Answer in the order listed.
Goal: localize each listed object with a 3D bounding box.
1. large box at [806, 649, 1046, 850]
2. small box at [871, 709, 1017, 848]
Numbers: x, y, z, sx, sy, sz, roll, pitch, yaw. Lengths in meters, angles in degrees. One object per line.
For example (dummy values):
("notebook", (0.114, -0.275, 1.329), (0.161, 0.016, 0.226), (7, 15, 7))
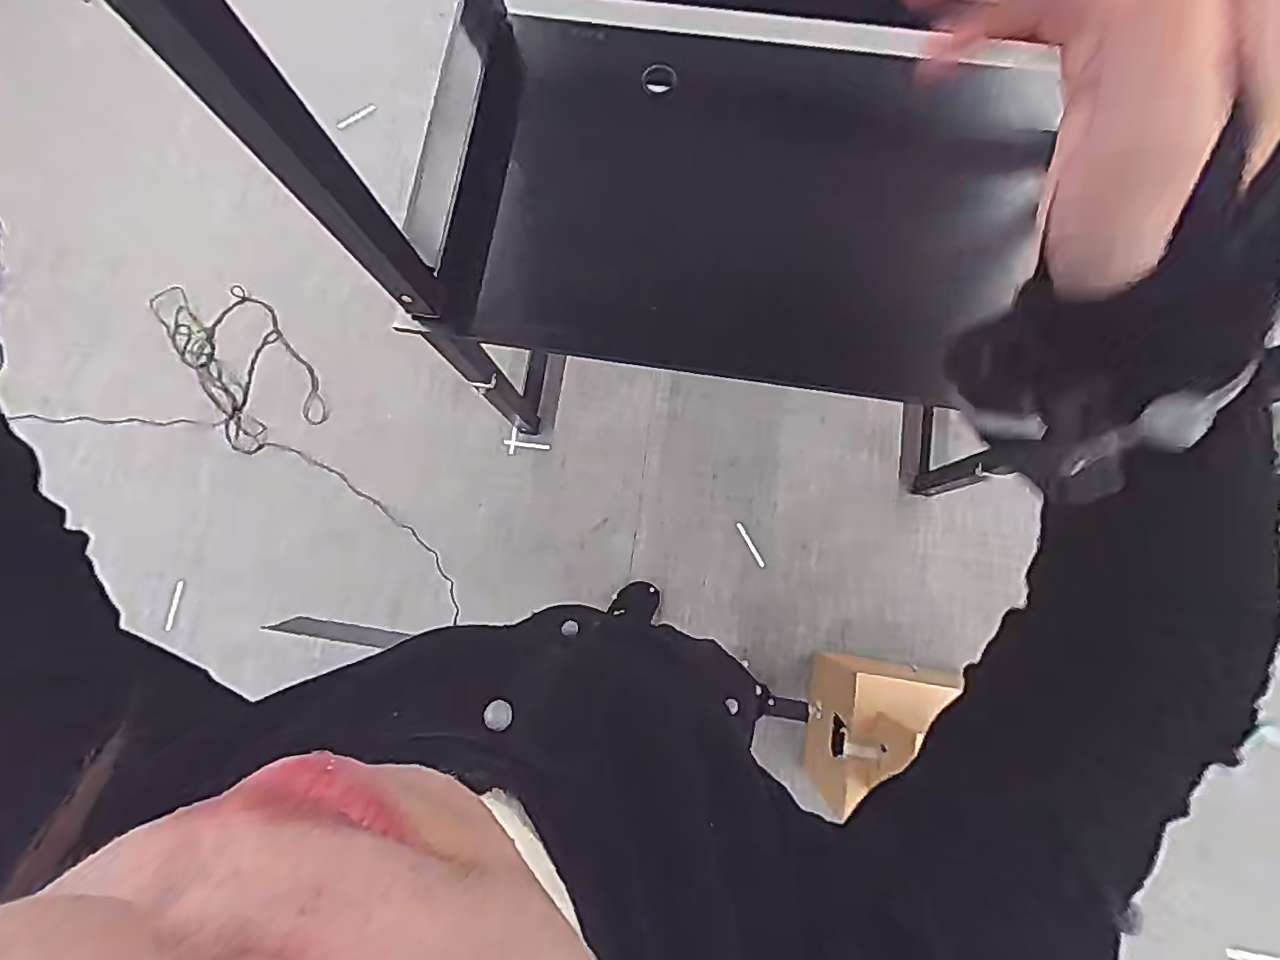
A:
("large box", (0.639, 0.599, 1.271), (0.408, 0.320, 0.320), (8, 82, 2))
("small box", (0.571, 0.555, 1.032), (0.179, 0.176, 0.168), (12, 80, 4))
